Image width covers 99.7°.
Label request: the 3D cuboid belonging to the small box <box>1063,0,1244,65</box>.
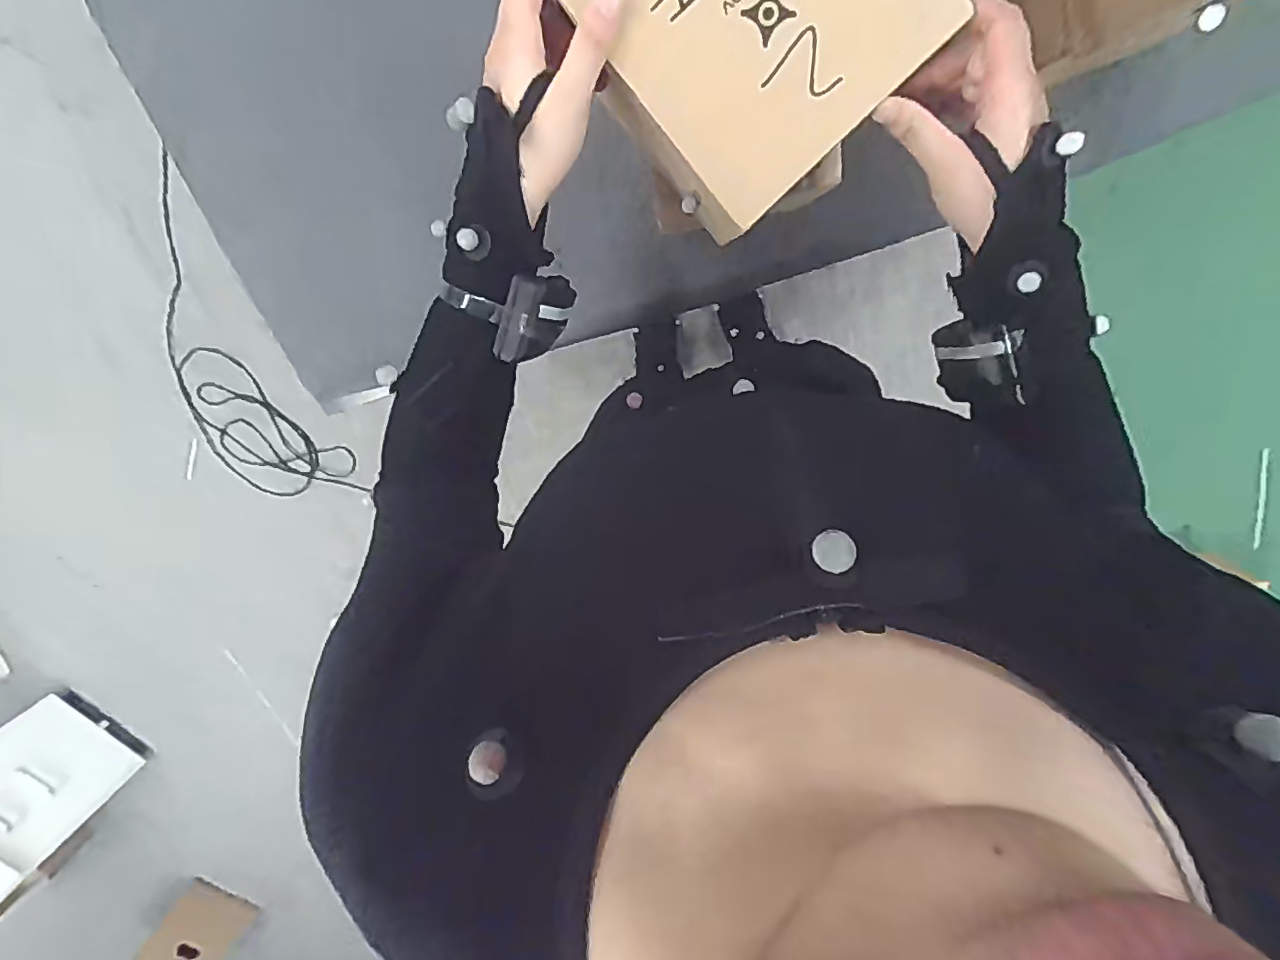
[{"bbox_3d":[0.383,-0.402,0.320,0.168,0.176,0.179,-20,108,12],"label":"small box"}]

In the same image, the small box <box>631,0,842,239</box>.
[{"bbox_3d":[0.088,-0.351,0.532,0.168,0.176,0.179,-8,109,7],"label":"small box"}]

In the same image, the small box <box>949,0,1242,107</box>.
[{"bbox_3d":[0.393,-0.460,0.471,0.168,0.176,0.179,-16,106,10],"label":"small box"}]
